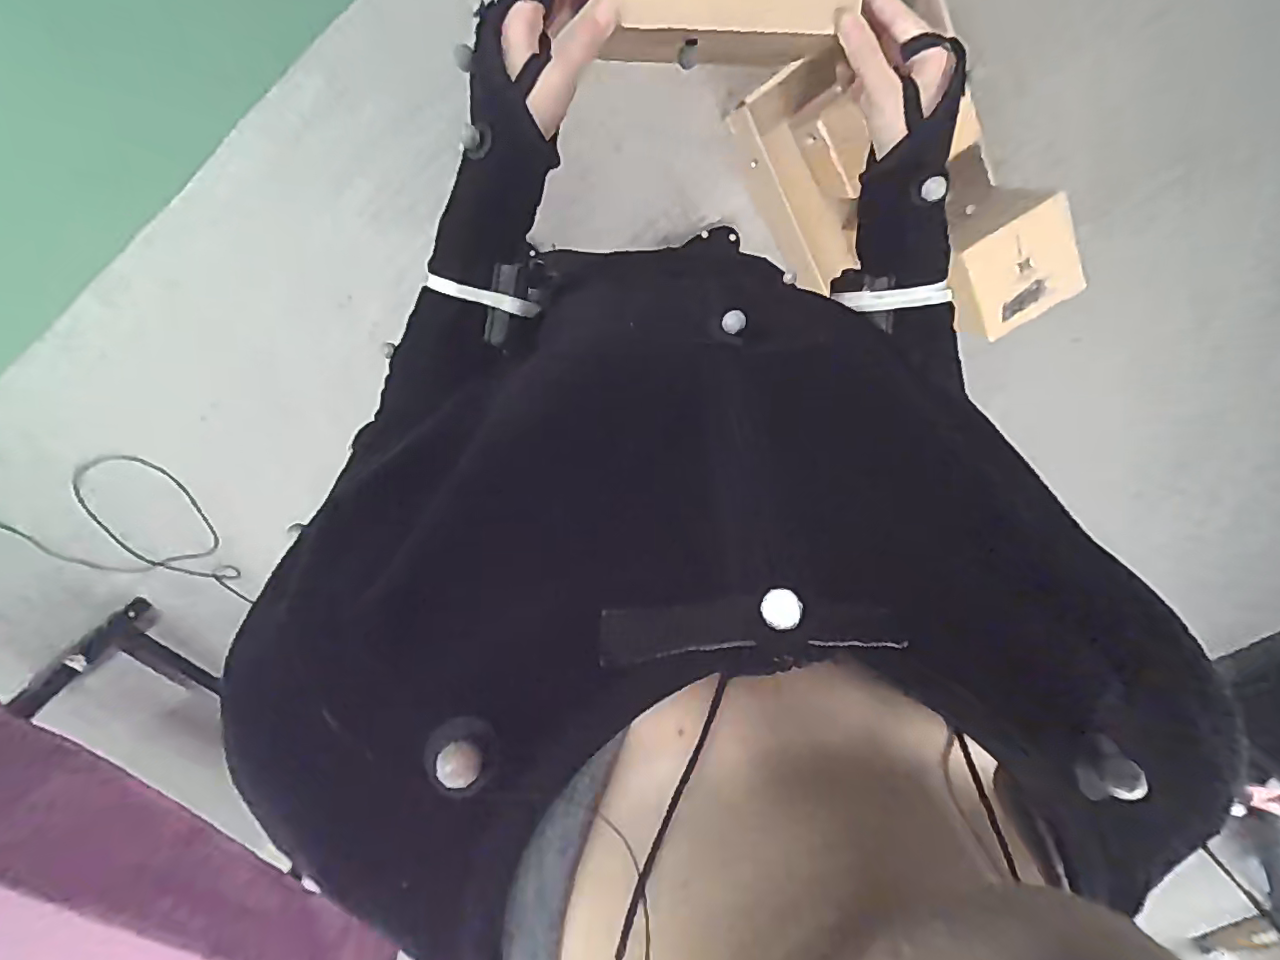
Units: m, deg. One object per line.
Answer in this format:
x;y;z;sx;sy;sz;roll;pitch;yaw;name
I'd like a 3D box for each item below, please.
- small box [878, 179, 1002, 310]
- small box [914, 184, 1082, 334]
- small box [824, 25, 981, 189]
0.601;-0.470;1.079;0.179;0.176;0.168;-30;116;12;small box
0.613;-0.385;0.941;0.168;0.176;0.179;-28;113;12;small box
0.460;-0.652;0.970;0.168;0.176;0.179;-33;117;14;small box
